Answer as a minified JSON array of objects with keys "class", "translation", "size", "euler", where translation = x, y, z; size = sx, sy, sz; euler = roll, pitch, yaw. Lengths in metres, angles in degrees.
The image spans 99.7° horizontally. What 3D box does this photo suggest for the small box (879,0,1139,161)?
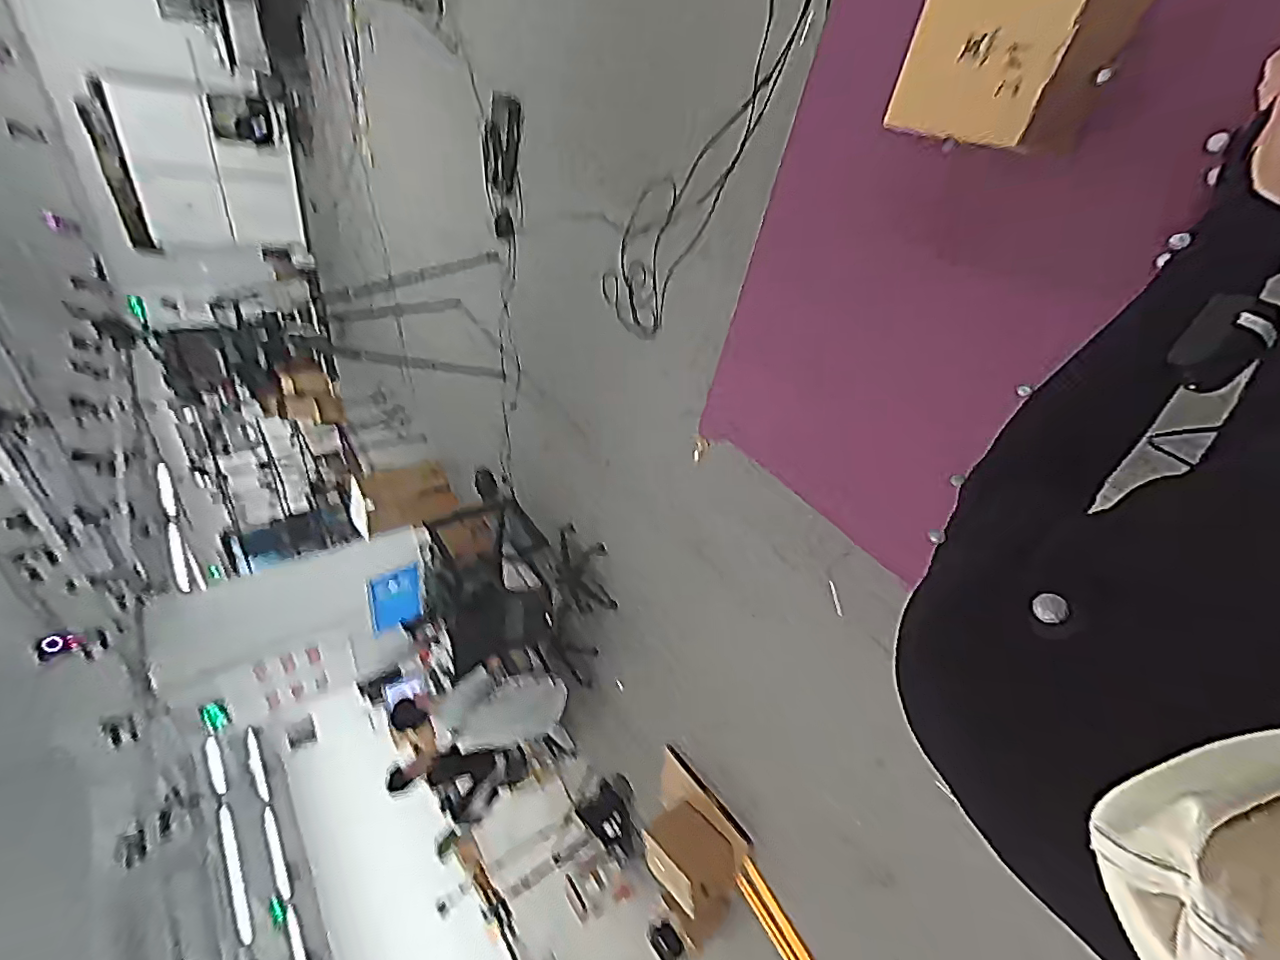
[{"class":"small box","translation":[0.436,-0.497,0.653],"size":[0.179,0.176,0.168],"euler":[41,135,36]}]
